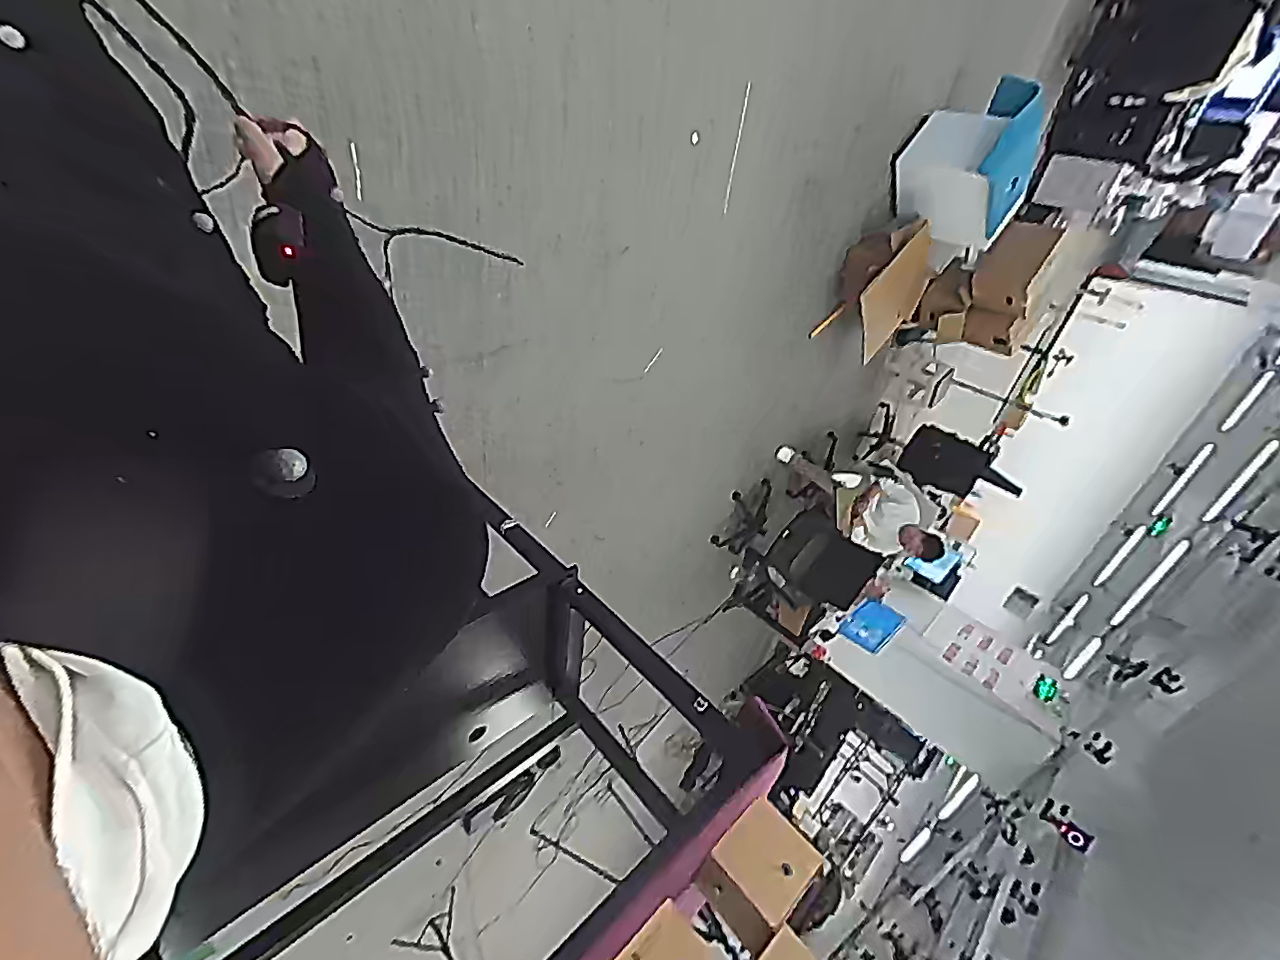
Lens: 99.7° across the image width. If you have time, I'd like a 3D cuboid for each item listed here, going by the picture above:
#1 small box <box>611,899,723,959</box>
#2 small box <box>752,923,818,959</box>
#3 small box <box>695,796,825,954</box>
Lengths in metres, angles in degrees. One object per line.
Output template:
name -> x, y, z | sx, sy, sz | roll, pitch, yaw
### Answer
small box -> 0.037, 0.884, 0.937 | 0.168, 0.176, 0.179 | -24, 137, -39
small box -> 0.243, 0.934, 0.934 | 0.179, 0.176, 0.168 | -21, 136, -39
small box -> 0.242, 0.801, 1.113 | 0.179, 0.176, 0.168 | -22, 136, -38
